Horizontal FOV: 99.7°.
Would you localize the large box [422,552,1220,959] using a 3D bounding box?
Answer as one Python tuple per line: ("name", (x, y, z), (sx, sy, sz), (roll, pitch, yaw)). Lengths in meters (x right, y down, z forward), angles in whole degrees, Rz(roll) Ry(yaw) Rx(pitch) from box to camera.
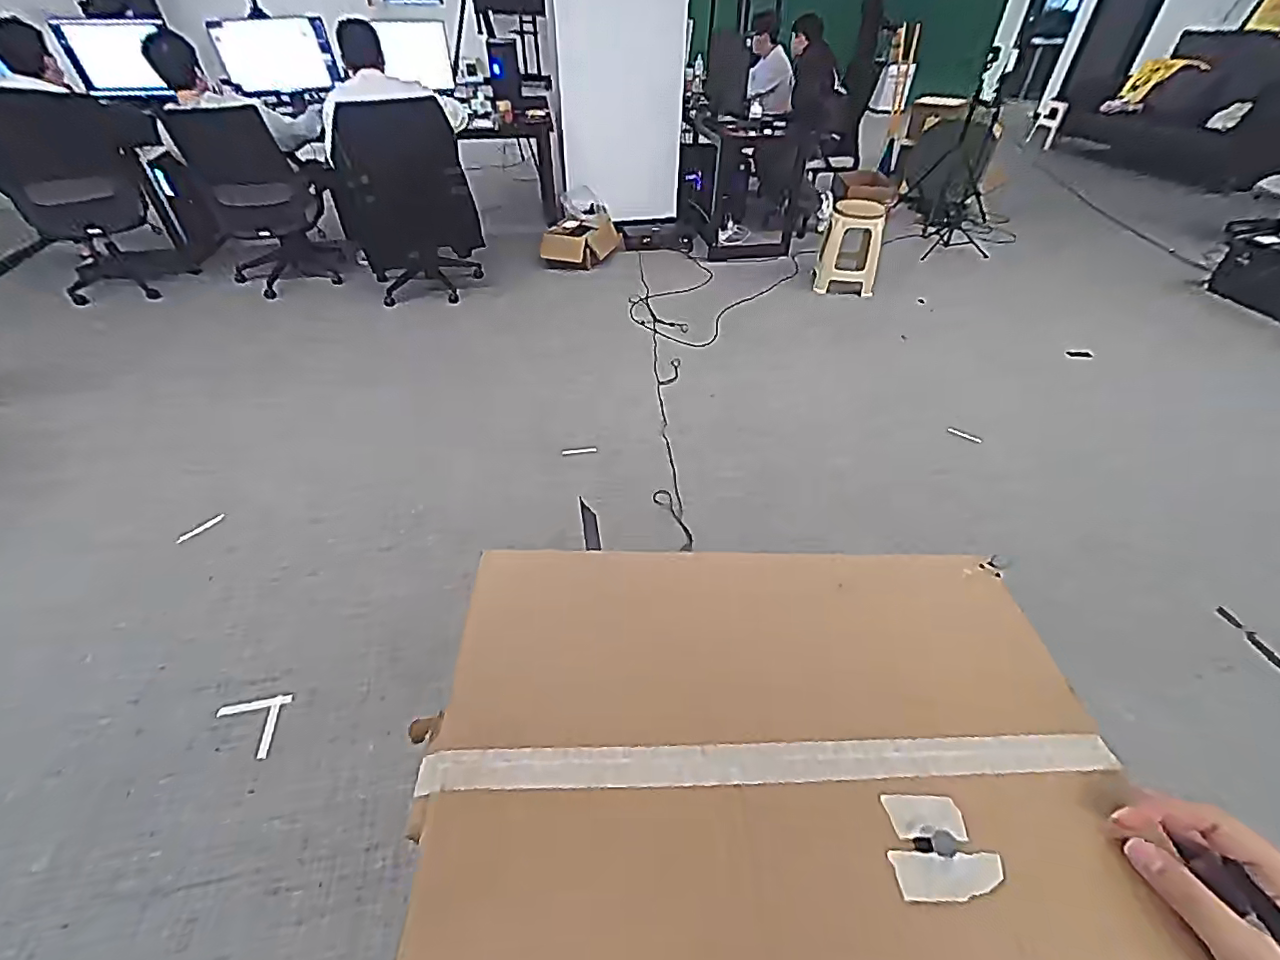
("large box", (0.075, 0.273, 0.431), (0.408, 0.320, 0.320), (2, 44, -6))
